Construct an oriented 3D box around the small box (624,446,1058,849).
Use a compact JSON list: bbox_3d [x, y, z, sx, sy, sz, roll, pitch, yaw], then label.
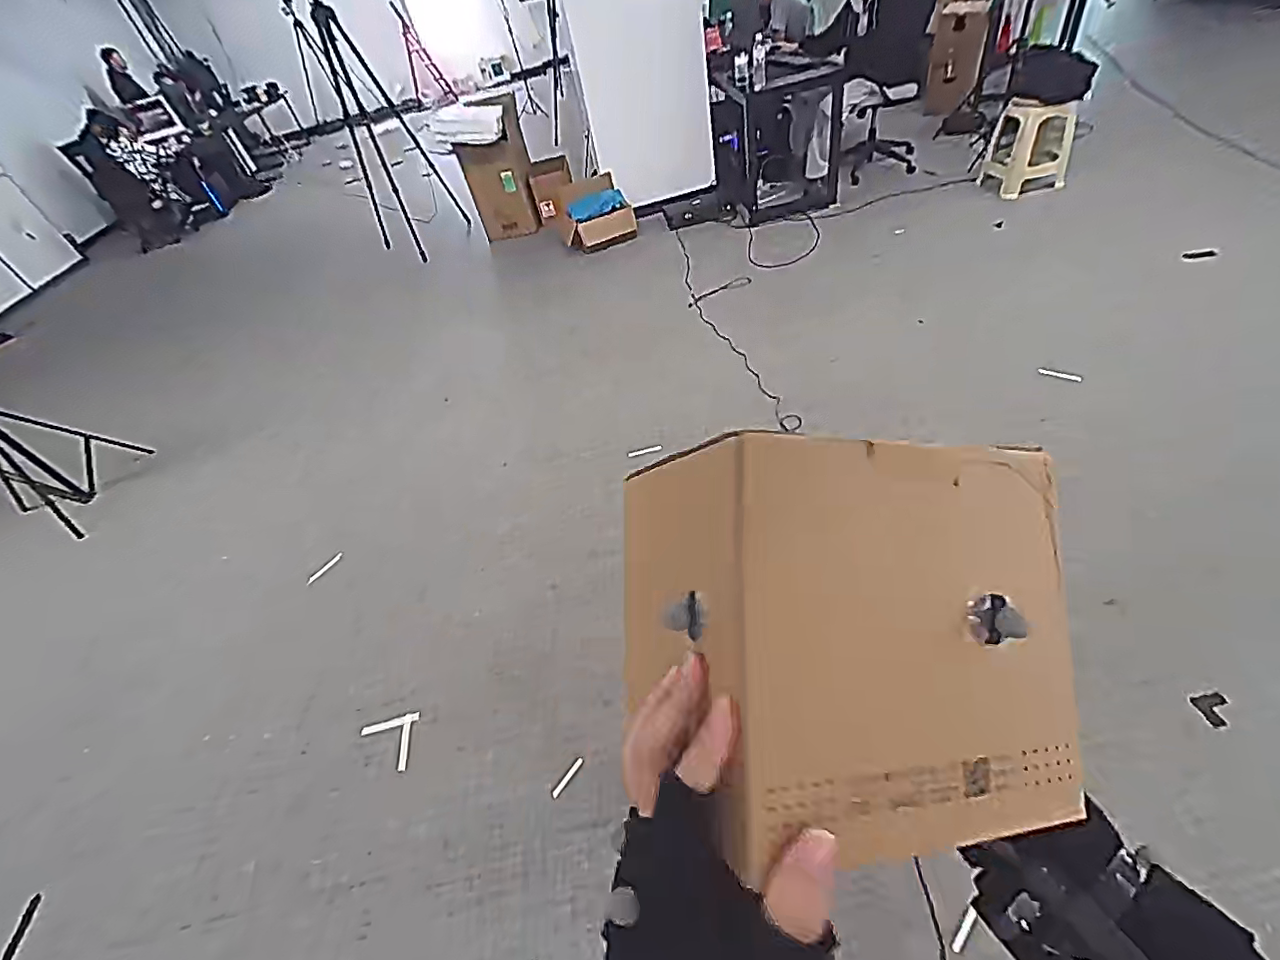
[{"bbox_3d":[0.093,0.079,0.306,0.168,0.179,0.176,2,83,-18],"label":"small box"}]
